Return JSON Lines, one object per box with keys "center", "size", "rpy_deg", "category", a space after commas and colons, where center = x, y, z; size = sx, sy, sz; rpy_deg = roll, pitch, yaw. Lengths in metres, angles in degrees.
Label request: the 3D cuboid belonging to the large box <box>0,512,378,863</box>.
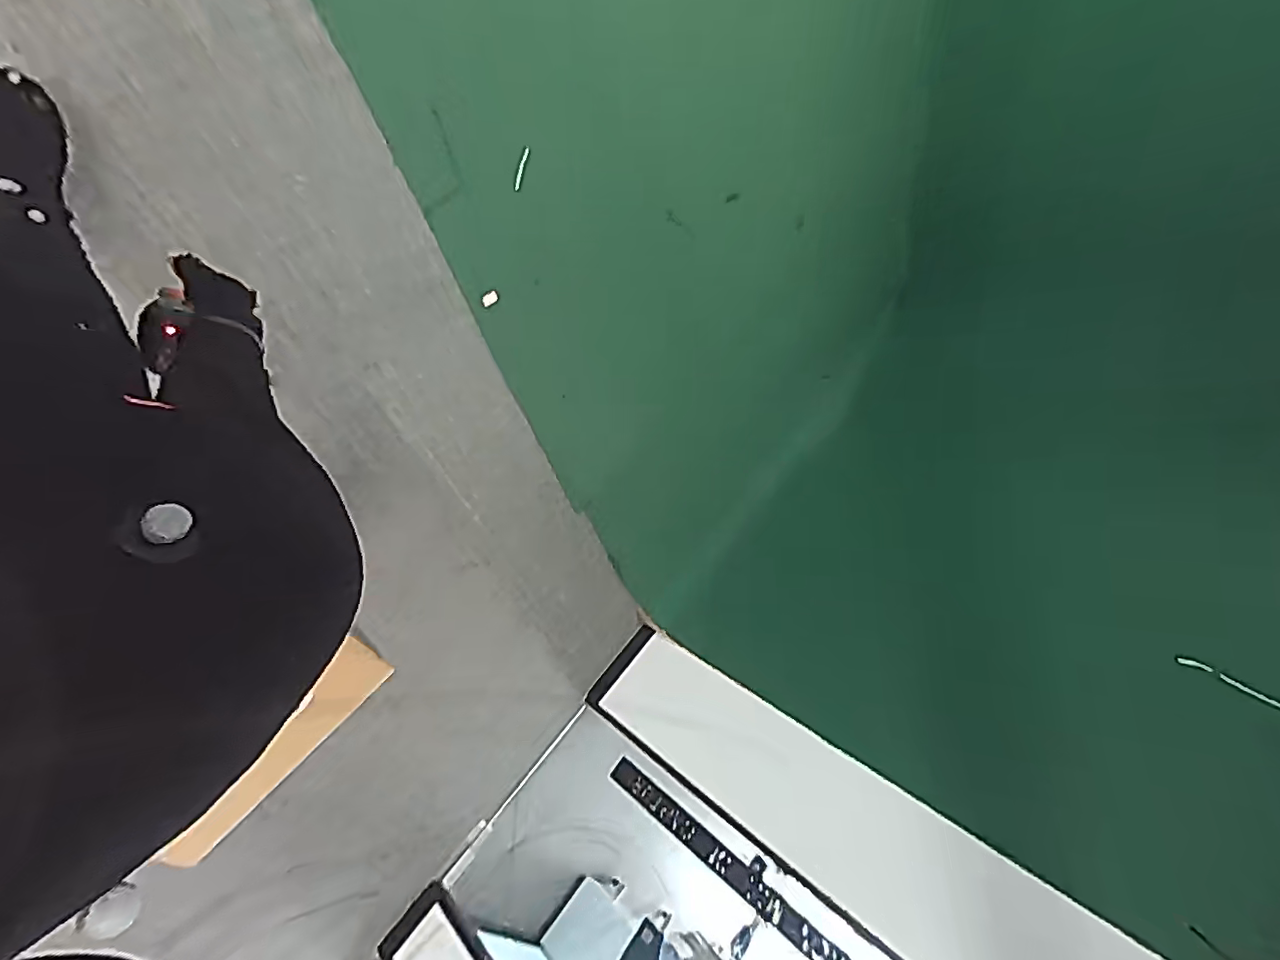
{"center": [-0.764, 0.329, 0.929], "size": [0.408, 0.320, 0.320], "rpy_deg": [-47, 136, -25], "category": "large box"}
